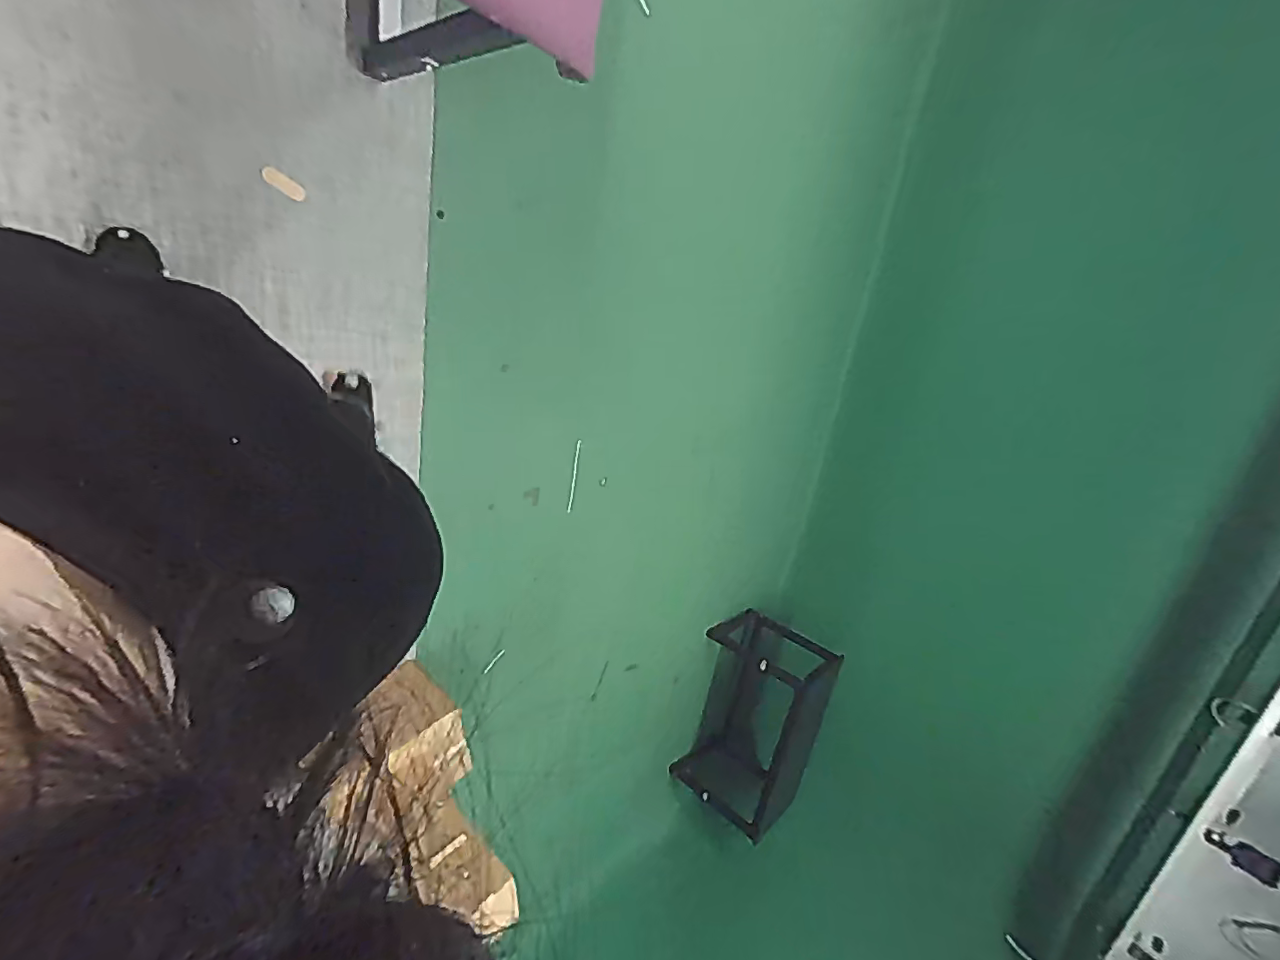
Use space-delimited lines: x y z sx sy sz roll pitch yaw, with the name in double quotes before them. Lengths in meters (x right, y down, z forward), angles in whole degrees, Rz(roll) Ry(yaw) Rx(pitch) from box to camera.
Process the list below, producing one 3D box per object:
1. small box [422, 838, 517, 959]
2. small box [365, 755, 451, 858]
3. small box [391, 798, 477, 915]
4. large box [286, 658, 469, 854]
"small box" -0.439 1.070 1.388 0.168 0.176 0.179 -23 123 -42
"small box" -0.674 0.956 1.587 0.179 0.176 0.168 -23 125 -42
"small box" -0.562 1.016 1.483 0.168 0.176 0.179 -22 124 -43
"large box" -0.835 0.867 1.751 0.408 0.320 0.320 -28 130 -41
